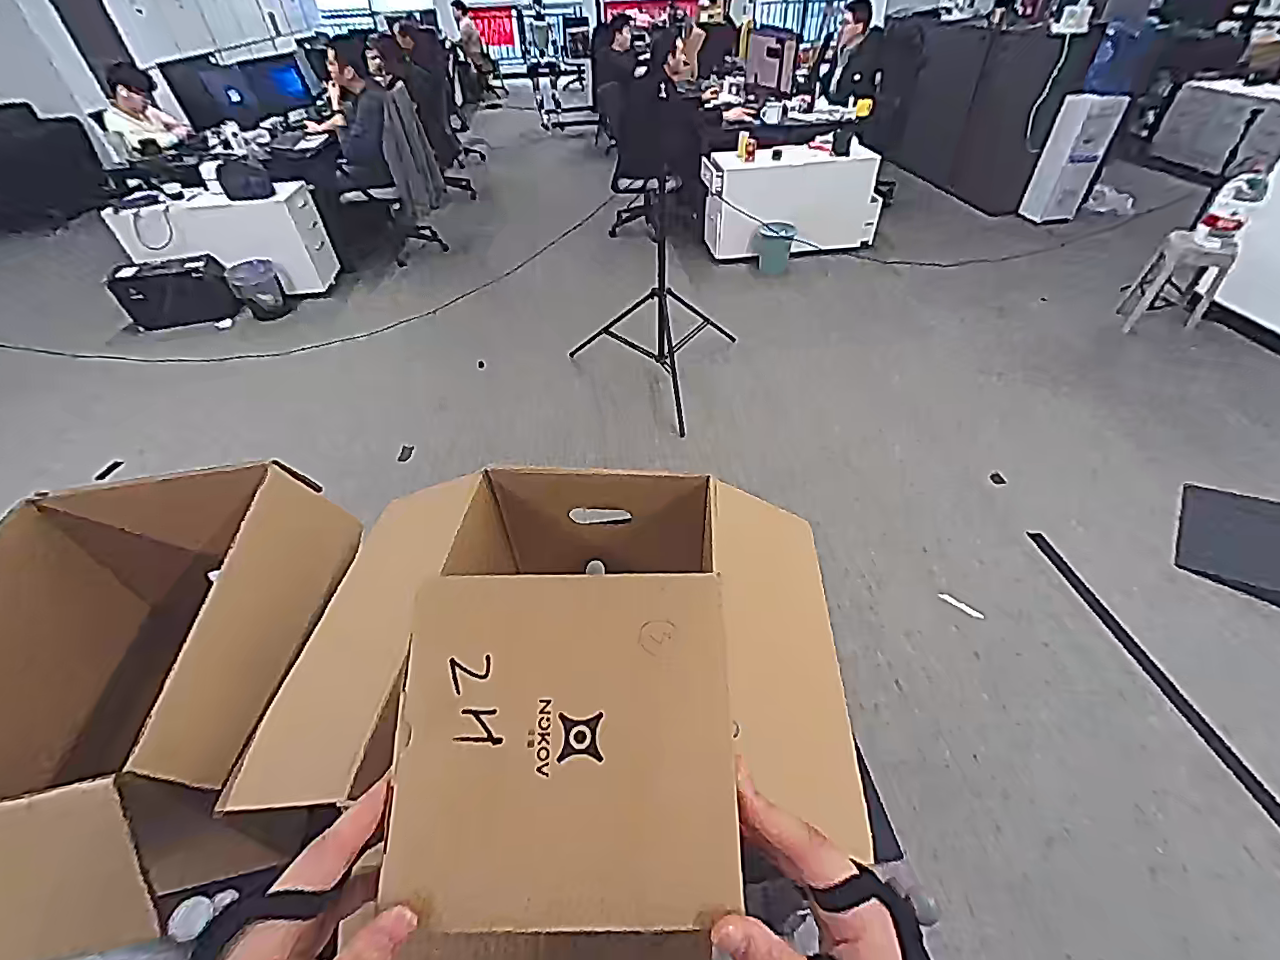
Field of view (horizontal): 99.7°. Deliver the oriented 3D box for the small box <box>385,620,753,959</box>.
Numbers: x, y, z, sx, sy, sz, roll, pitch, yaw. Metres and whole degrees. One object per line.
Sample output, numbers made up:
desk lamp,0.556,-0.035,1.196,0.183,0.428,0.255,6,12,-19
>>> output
small box,-0.033,0.183,0.354,0.179,0.176,0.168,0,70,1
